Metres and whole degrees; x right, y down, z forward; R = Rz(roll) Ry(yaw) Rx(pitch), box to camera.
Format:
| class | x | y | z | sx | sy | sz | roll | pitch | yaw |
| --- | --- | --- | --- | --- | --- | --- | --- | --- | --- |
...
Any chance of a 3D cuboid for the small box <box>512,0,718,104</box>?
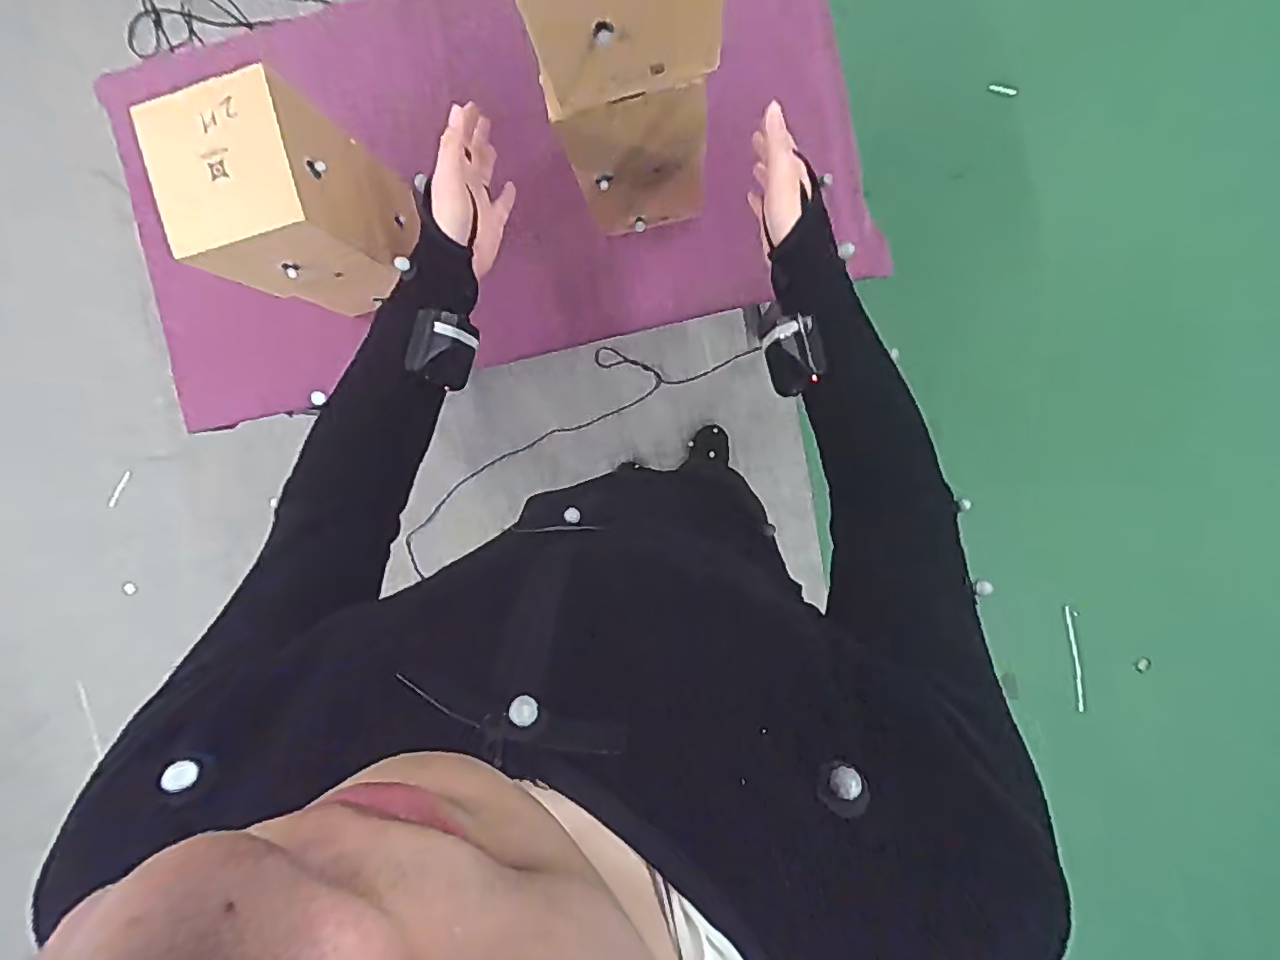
| class | x | y | z | sx | sy | sz | roll | pitch | yaw |
| --- | --- | --- | --- | --- | --- | --- | --- | --- | --- |
| small box | -0.027 | -0.468 | 0.467 | 0.168 | 0.176 | 0.179 | -12 | 90 | 8 |

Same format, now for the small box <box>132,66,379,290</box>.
| class | x | y | z | sx | sy | sz | roll | pitch | yaw |
| --- | --- | --- | --- | --- | --- | --- | --- | --- | --- |
| small box | -0.458 | -0.353 | 0.675 | 0.168 | 0.176 | 0.179 | -13 | 93 | 5 |

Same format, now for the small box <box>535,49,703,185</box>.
| class | x | y | z | sx | sy | sz | roll | pitch | yaw |
| --- | --- | --- | --- | --- | --- | --- | --- | --- | --- |
| small box | -0.021 | -0.473 | 0.630 | 0.168 | 0.176 | 0.179 | -10 | 91 | 7 |

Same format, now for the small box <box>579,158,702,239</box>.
| class | x | y | z | sx | sy | sz | roll | pitch | yaw |
| --- | --- | --- | --- | --- | --- | --- | --- | --- | --- |
| small box | -0.004 | -0.485 | 0.792 | 0.168 | 0.176 | 0.179 | -9 | 92 | 7 |
